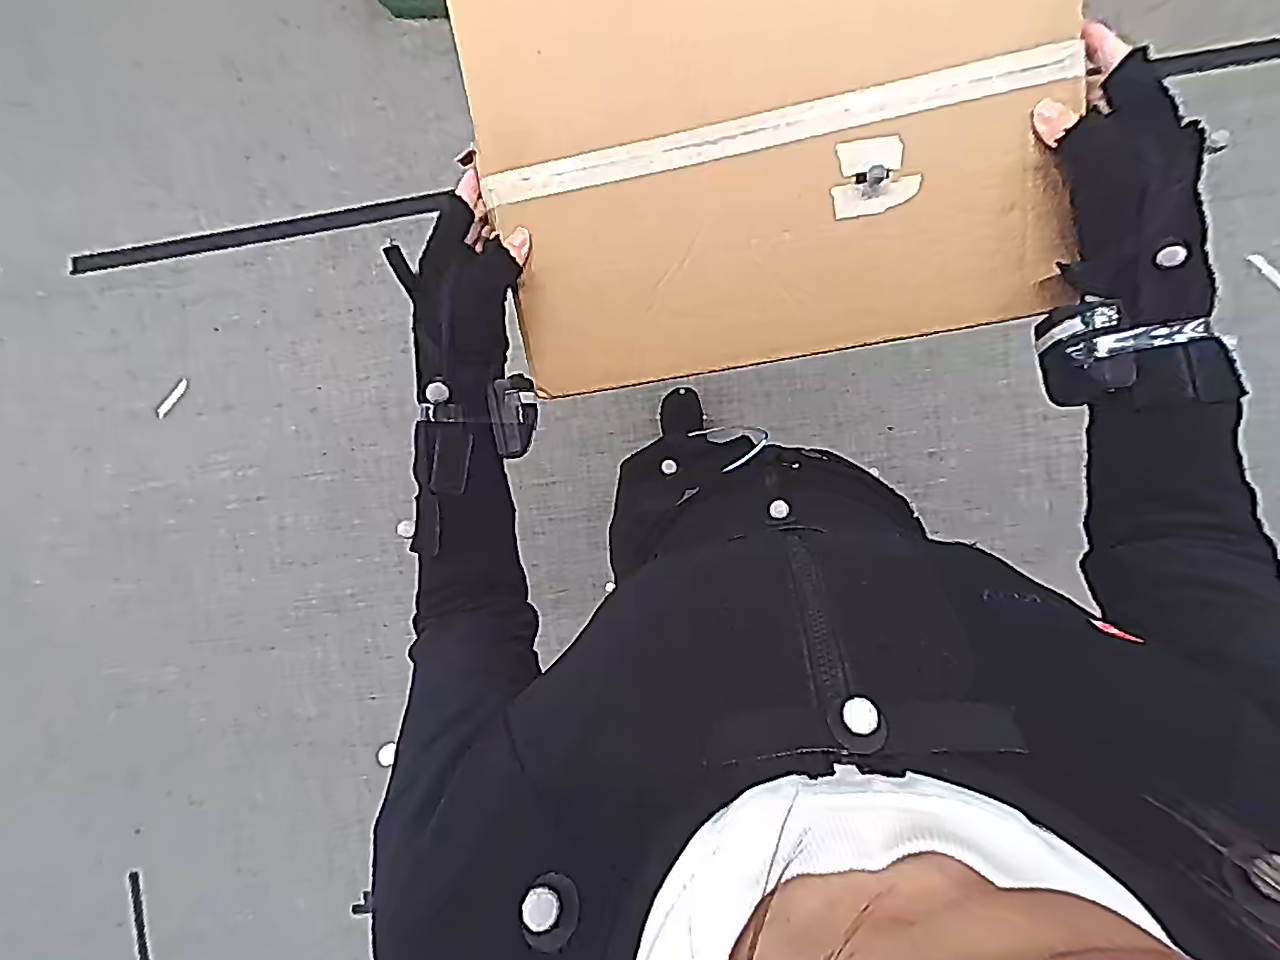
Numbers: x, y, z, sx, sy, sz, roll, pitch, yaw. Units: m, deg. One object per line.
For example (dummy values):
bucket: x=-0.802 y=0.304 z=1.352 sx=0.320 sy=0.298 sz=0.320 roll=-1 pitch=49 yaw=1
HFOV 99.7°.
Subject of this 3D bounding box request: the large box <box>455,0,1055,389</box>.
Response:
large box: x=0.095 y=-0.289 z=0.534 sx=0.408 sy=0.320 sz=0.320 roll=-9 pitch=105 yaw=7
